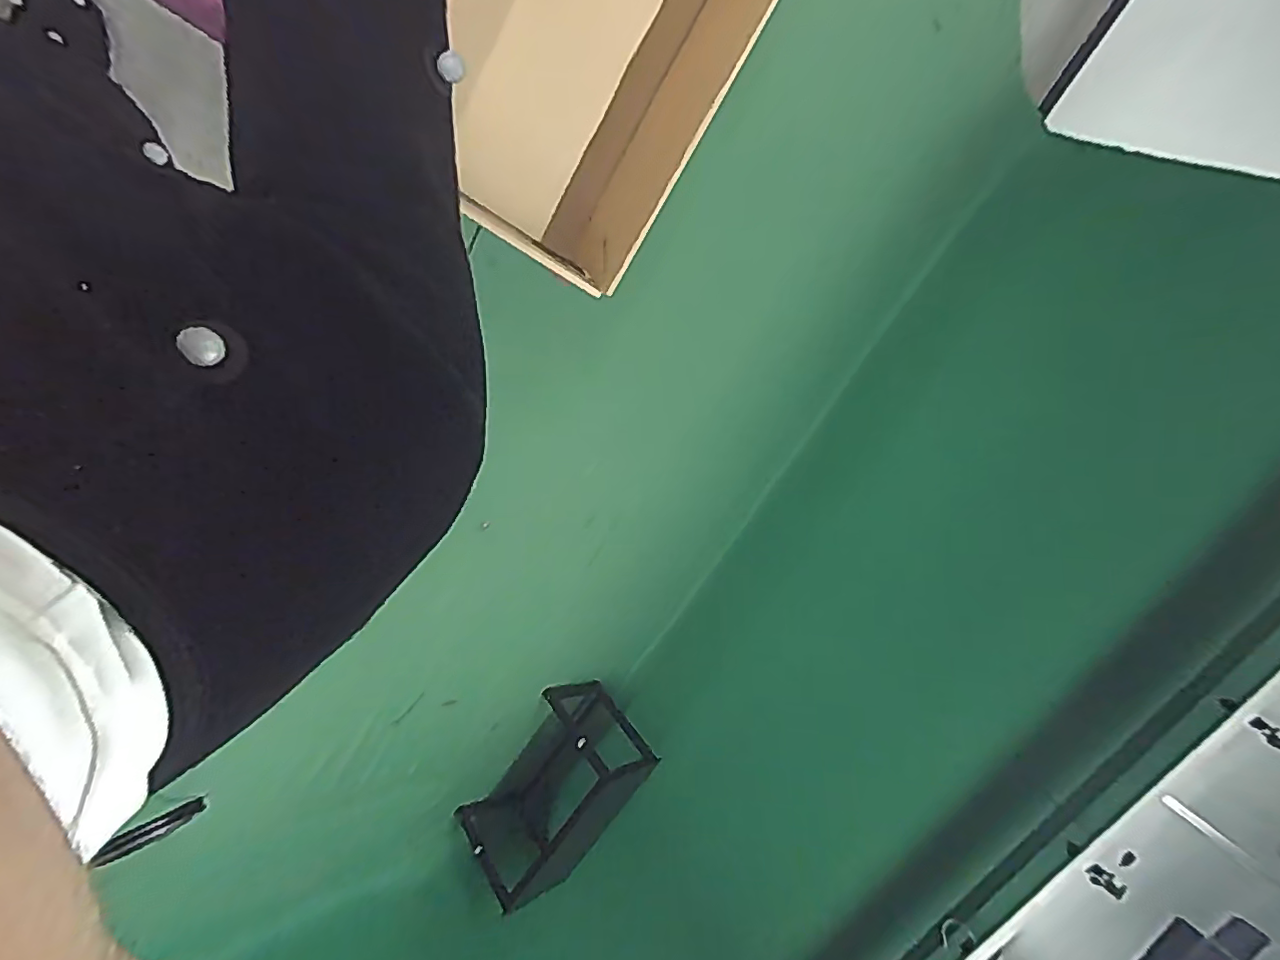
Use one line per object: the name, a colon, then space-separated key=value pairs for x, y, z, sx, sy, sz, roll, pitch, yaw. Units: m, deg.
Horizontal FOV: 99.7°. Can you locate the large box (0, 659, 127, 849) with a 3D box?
large box: x=-1.763 y=0.783 z=1.496 sx=0.408 sy=0.320 sz=0.320 roll=-23 pitch=141 yaw=-35
